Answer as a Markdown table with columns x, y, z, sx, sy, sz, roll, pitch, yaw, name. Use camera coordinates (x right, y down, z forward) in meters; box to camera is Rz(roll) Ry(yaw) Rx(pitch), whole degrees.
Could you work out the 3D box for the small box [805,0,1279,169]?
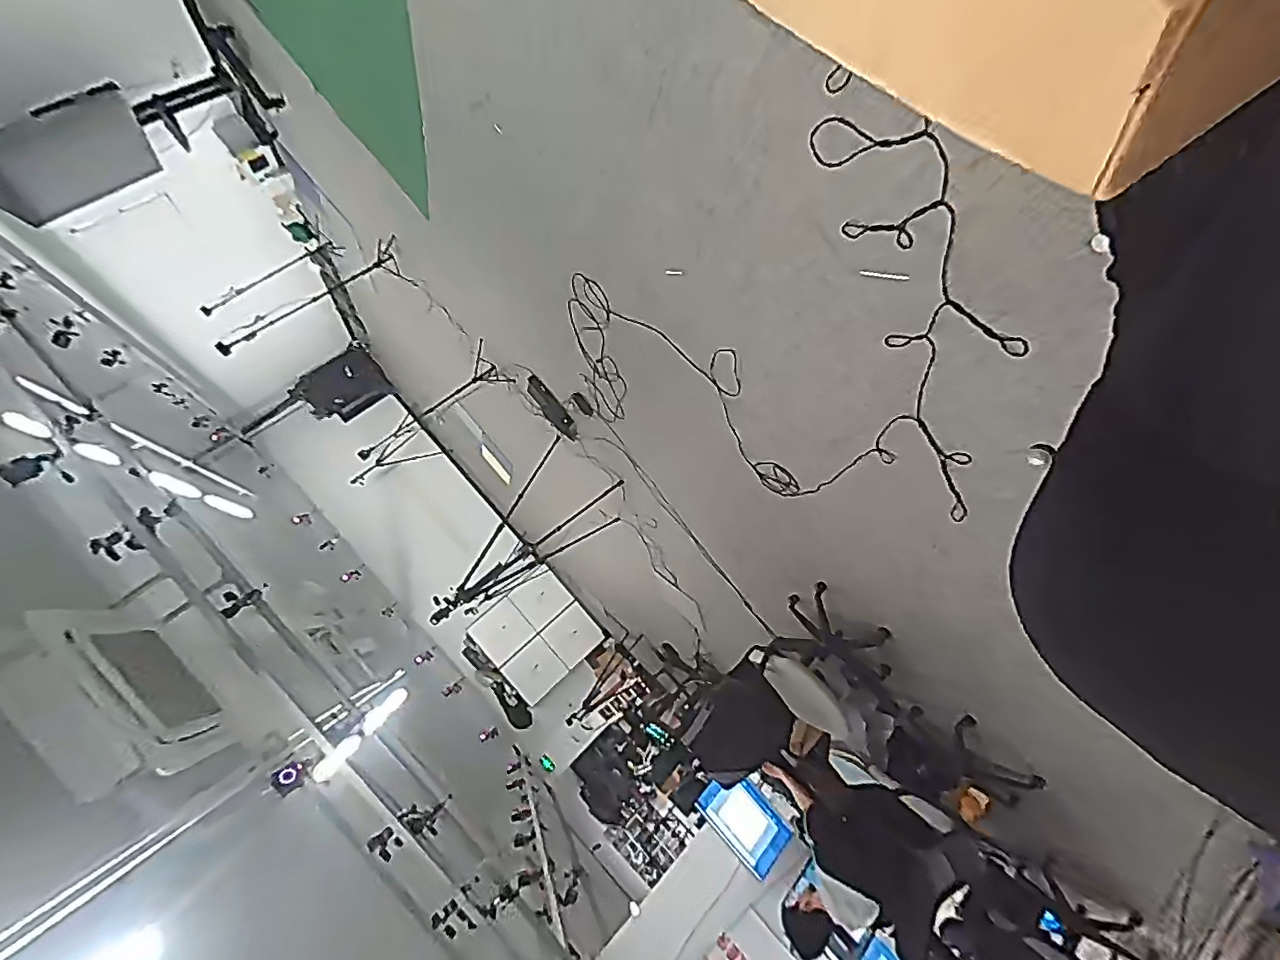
| x | y | z | sx | sy | sz | roll | pitch | yaw | name |
| --- | --- | --- | --- | --- | --- | --- | --- | --- | --- |
| 0.129 | -0.220 | 0.107 | 0.179 | 0.176 | 0.168 | 58 | -172 | 27 | small box |
